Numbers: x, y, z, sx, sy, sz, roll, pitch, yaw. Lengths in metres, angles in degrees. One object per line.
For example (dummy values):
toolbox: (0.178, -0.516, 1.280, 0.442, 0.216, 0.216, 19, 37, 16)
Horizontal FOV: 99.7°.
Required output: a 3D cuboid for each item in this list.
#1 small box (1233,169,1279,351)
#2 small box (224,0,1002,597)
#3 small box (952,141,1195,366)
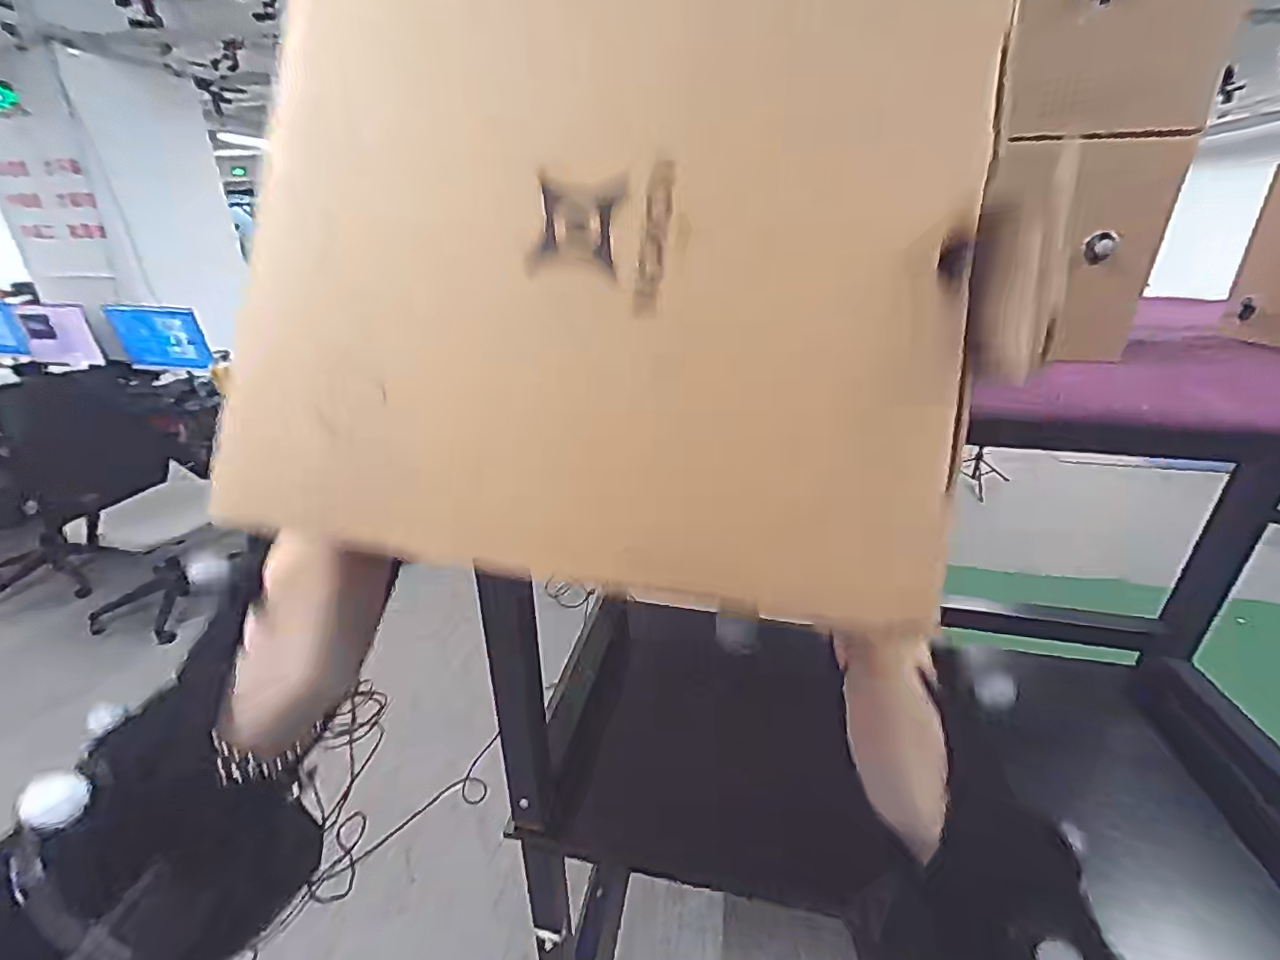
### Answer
small box: (0.676, -0.188, 0.459, 0.179, 0.176, 0.168, 5, 23, 12)
small box: (-0.002, -0.062, 0.210, 0.179, 0.168, 0.176, 8, -1, 6)
small box: (0.331, -0.205, 0.506, 0.179, 0.176, 0.168, 4, 24, 10)
